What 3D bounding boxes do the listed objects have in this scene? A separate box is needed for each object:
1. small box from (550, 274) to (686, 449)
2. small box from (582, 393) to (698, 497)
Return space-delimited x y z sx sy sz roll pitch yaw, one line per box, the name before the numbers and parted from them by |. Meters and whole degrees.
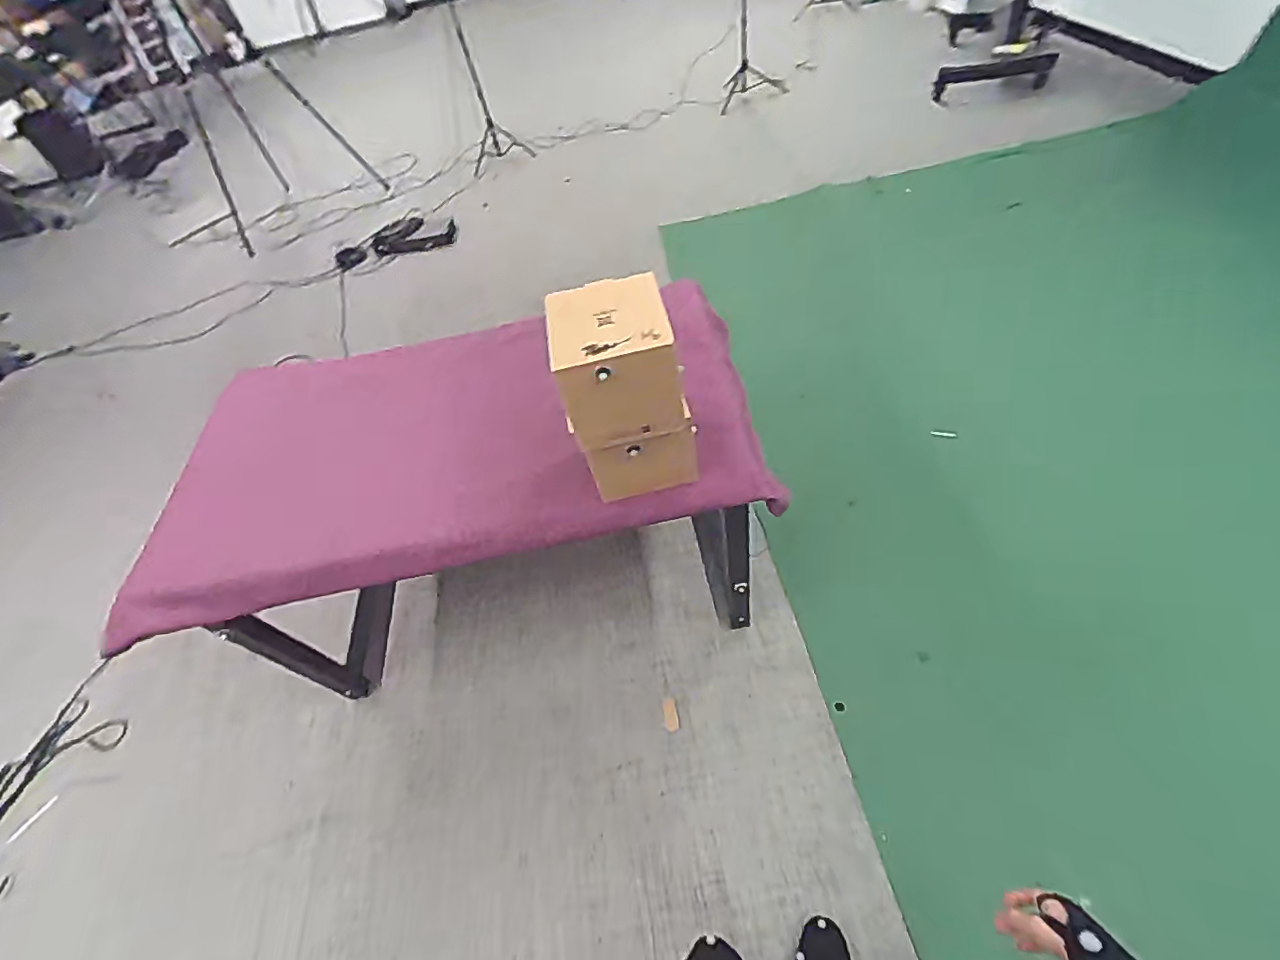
small box | -0.031 -0.175 0.811 0.168 0.176 0.179 -13 51 3
small box | -0.004 -0.090 0.950 0.179 0.176 0.168 -13 52 1
